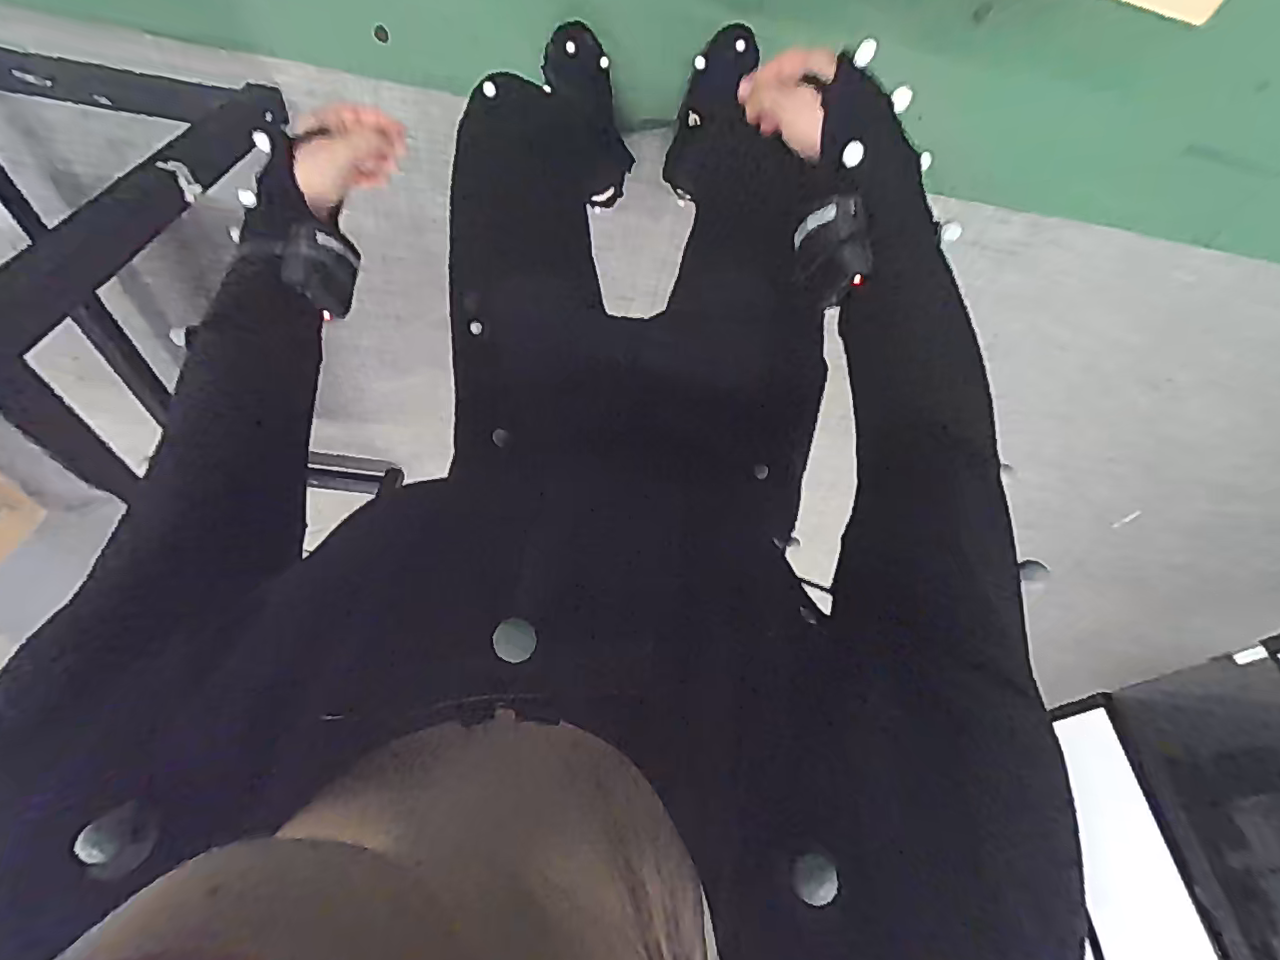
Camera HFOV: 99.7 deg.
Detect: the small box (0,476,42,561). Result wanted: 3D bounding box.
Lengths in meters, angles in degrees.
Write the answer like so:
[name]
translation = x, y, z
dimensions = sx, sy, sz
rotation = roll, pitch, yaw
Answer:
[small box]
translation = -0.859, 0.050, 0.598
dimensions = 0.179, 0.176, 0.168
rotation = 12, 143, -9
